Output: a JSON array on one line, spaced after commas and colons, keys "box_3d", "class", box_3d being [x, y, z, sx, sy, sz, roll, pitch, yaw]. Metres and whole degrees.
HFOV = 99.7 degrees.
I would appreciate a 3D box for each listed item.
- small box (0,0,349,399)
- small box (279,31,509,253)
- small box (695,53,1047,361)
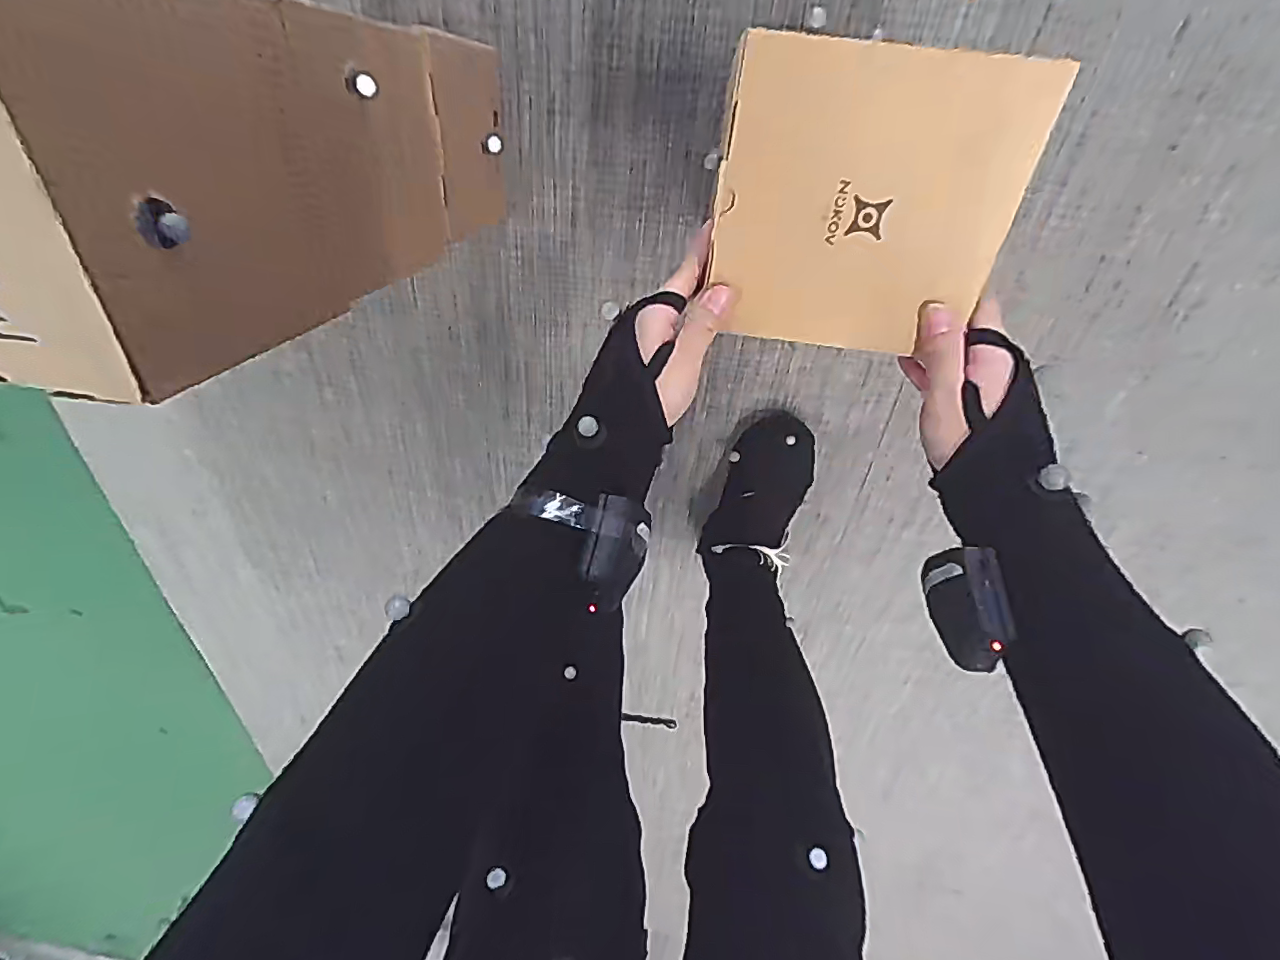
[{"box_3d": [-0.297, -0.166, 0.303, 0.168, 0.176, 0.179, 7, 122, 5], "class": "small box"}, {"box_3d": [-0.253, -0.350, 0.571, 0.179, 0.176, 0.168, 8, 123, 3], "class": "small box"}, {"box_3d": [0.142, -0.207, 0.410, 0.179, 0.176, 0.168, 8, 124, 4], "class": "small box"}]
